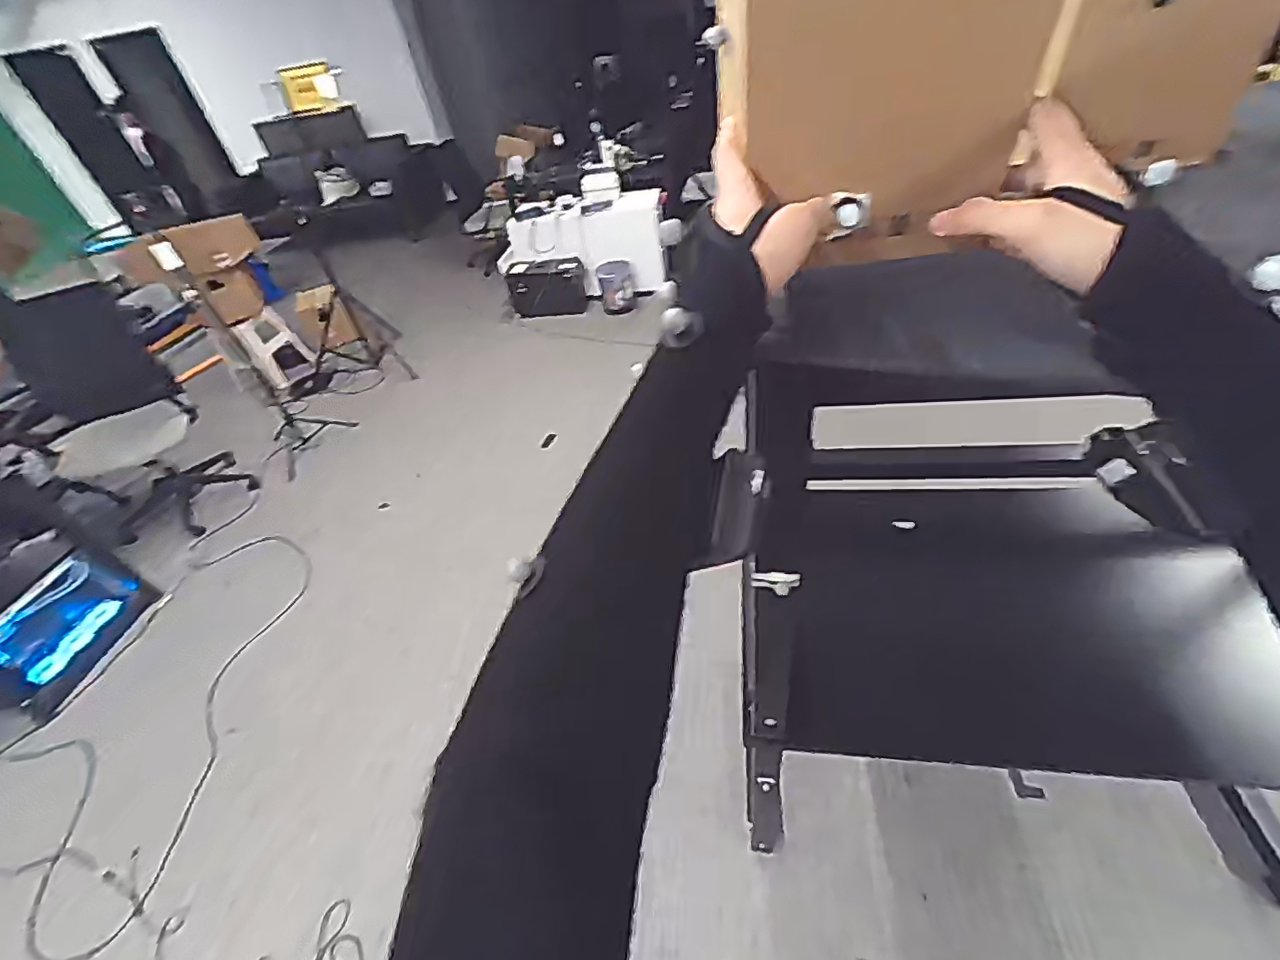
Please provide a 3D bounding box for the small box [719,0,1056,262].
[{"bbox_3d":[0.142,-0.276,0.377,0.168,0.176,0.179,-5,48,7],"label":"small box"}]

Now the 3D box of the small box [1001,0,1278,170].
[{"bbox_3d":[0.490,-0.441,0.567,0.168,0.176,0.179,2,43,14],"label":"small box"}]
